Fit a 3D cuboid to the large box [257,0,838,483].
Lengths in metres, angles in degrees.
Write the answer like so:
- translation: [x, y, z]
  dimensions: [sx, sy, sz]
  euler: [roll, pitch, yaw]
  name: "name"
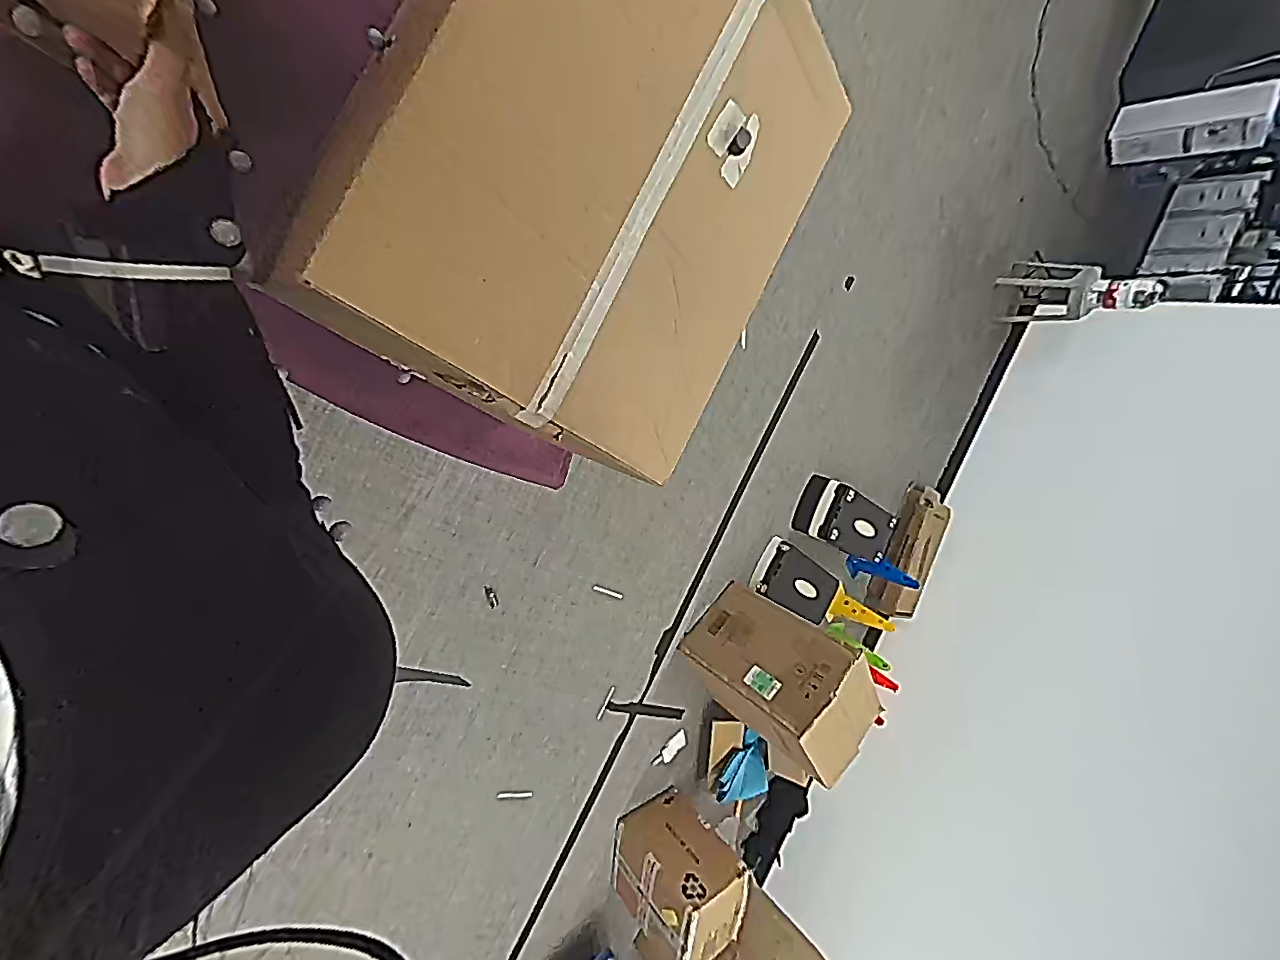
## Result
- translation: [-0.087, -0.261, 0.507]
  dimensions: [0.320, 0.320, 0.408]
  euler: [30, 84, -44]
  name: "large box"
